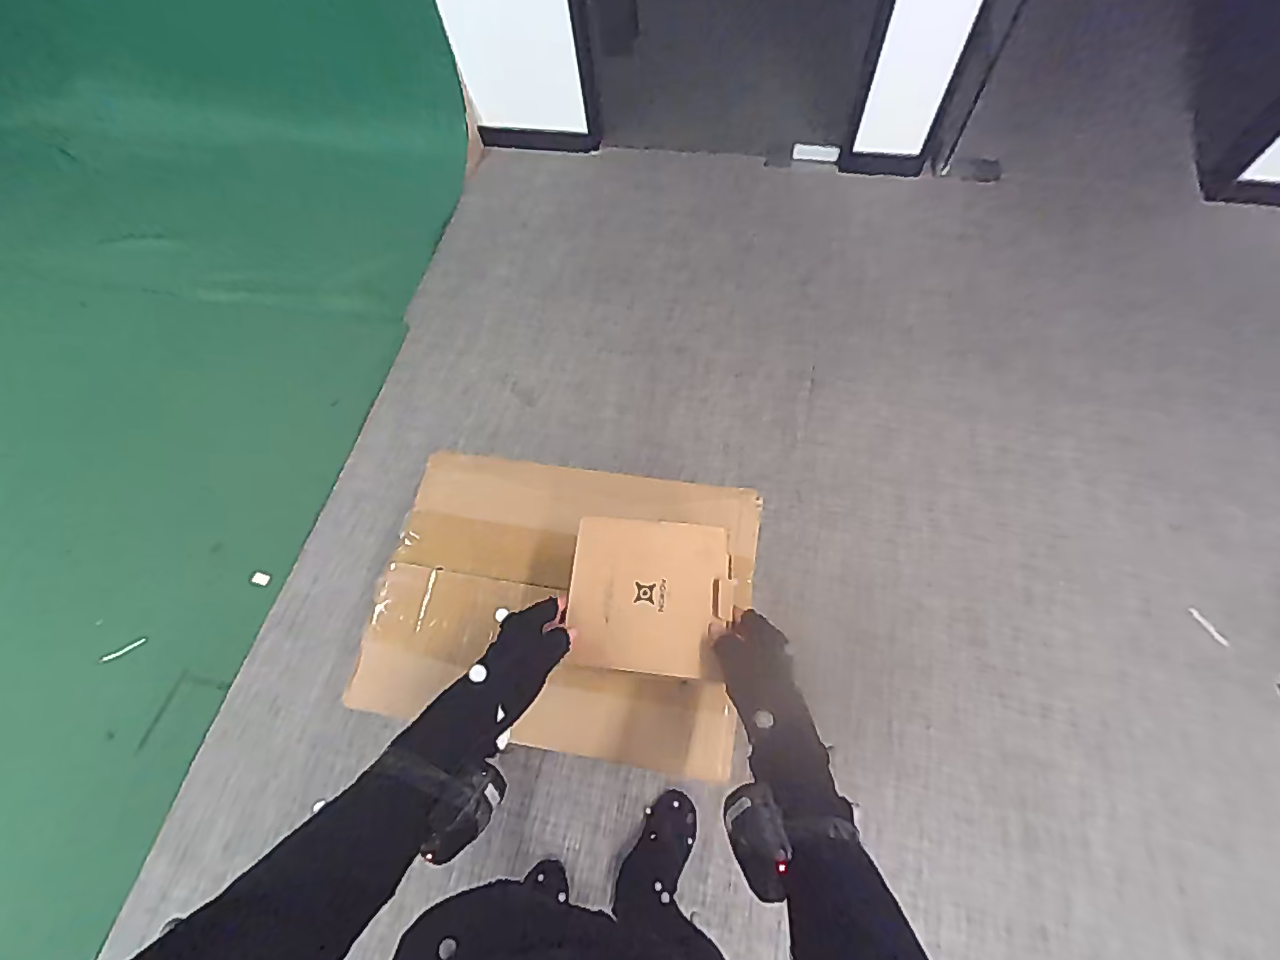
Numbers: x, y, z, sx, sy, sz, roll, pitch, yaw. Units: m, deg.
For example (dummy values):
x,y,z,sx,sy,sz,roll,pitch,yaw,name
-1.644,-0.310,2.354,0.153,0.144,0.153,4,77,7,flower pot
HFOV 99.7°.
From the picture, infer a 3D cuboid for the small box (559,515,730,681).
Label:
x,y,z,sx,sy,sz,roll,pitch,yaw,name
0.015,0.151,0.663,0.179,0.176,0.168,3,67,8,small box
